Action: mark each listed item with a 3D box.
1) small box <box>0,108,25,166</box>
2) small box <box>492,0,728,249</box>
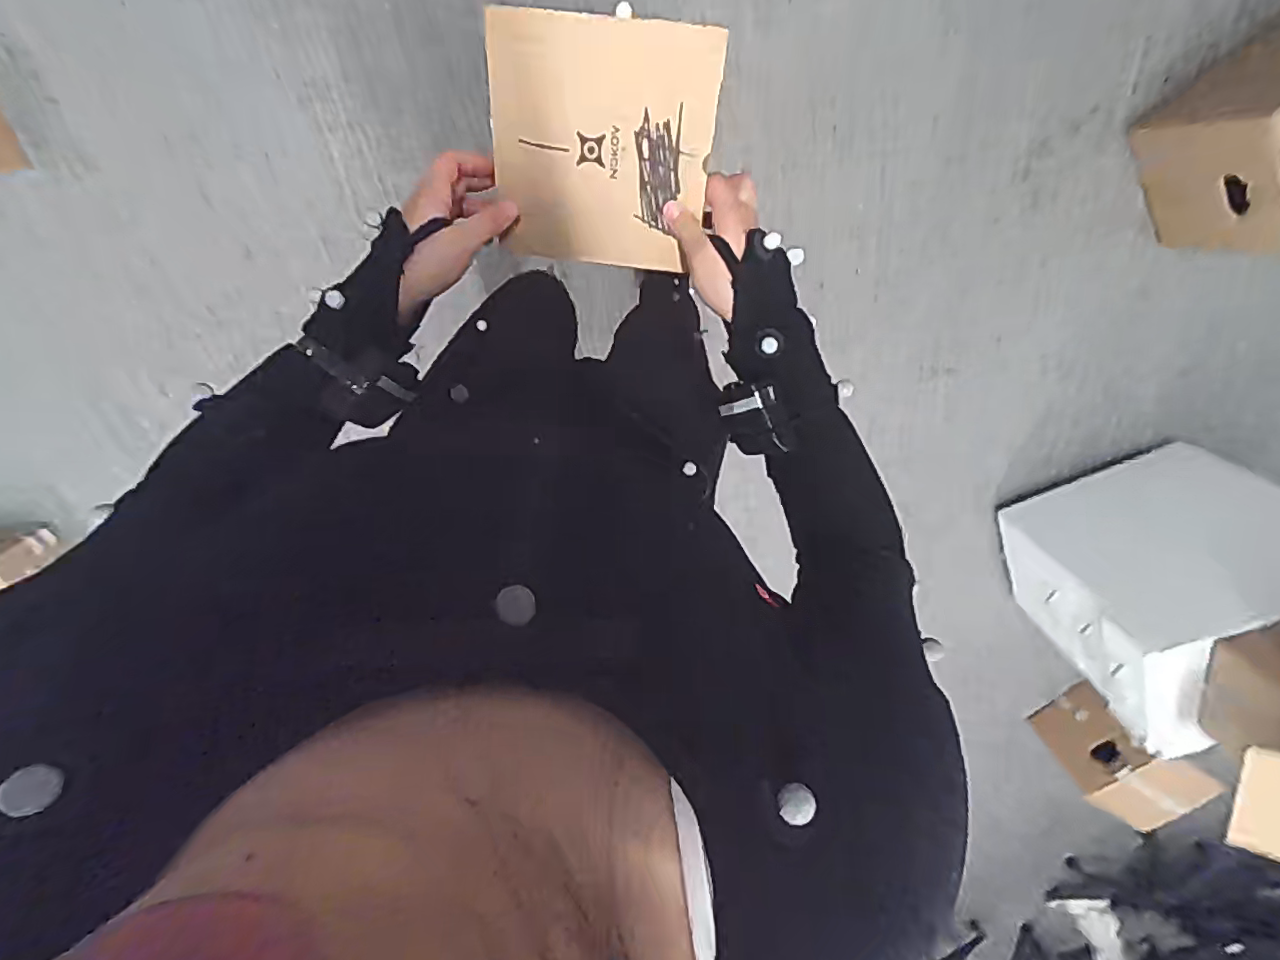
[{"bbox_3d":[-1.366,-0.698,1.024,0.168,0.176,0.179,-3,119,0],"label":"small box"},{"bbox_3d":[-0.032,-0.325,0.502,0.179,0.176,0.168,1,125,-5],"label":"small box"}]
